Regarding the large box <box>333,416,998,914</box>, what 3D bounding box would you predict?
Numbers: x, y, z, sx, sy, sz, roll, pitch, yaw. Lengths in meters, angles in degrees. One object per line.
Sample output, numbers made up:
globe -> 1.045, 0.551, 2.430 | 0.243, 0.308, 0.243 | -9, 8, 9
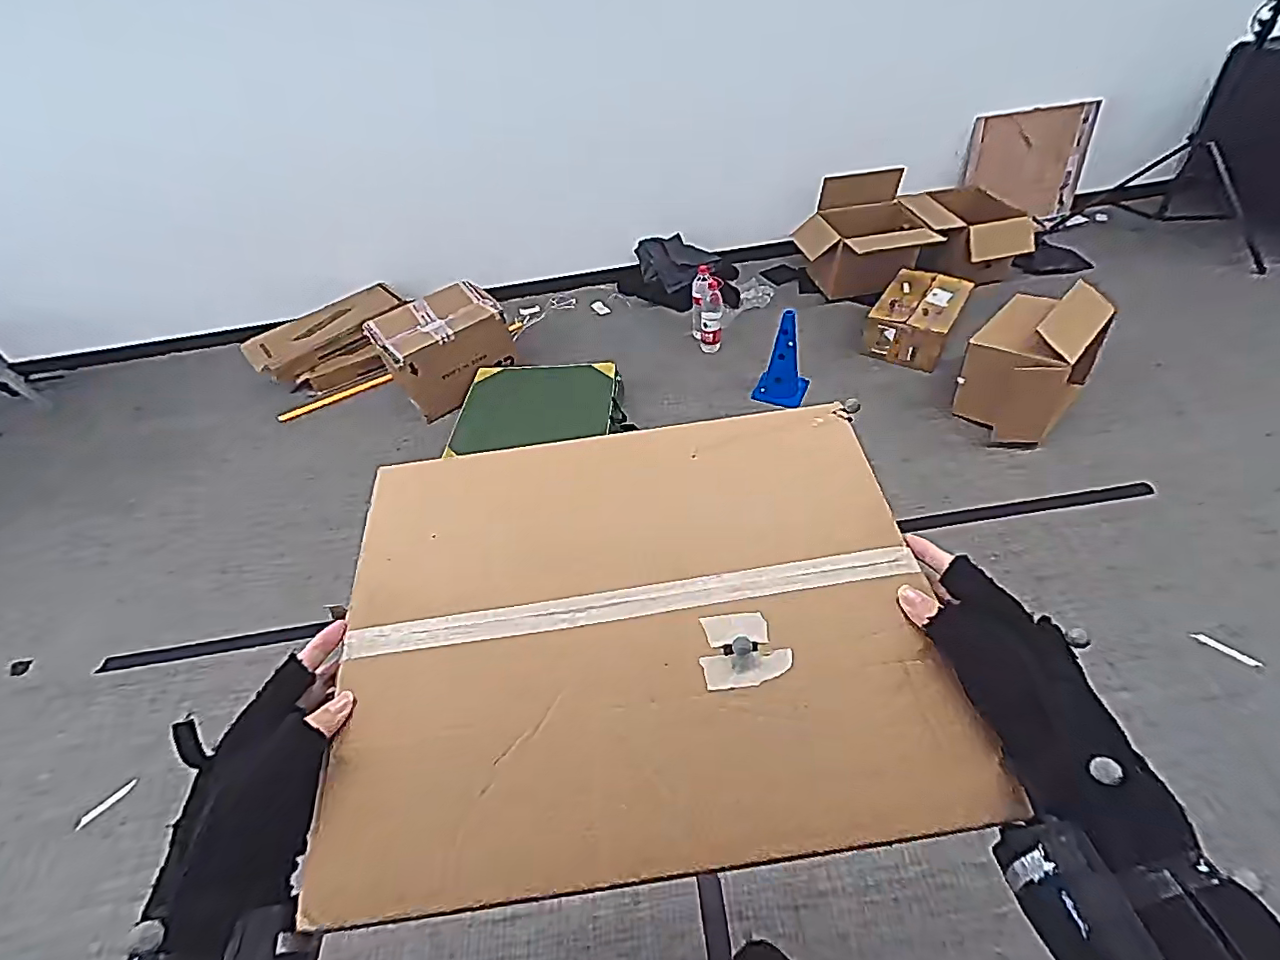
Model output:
large box -> 0.006, 0.178, 0.519 | 0.408, 0.320, 0.320 | -8, 56, -2
